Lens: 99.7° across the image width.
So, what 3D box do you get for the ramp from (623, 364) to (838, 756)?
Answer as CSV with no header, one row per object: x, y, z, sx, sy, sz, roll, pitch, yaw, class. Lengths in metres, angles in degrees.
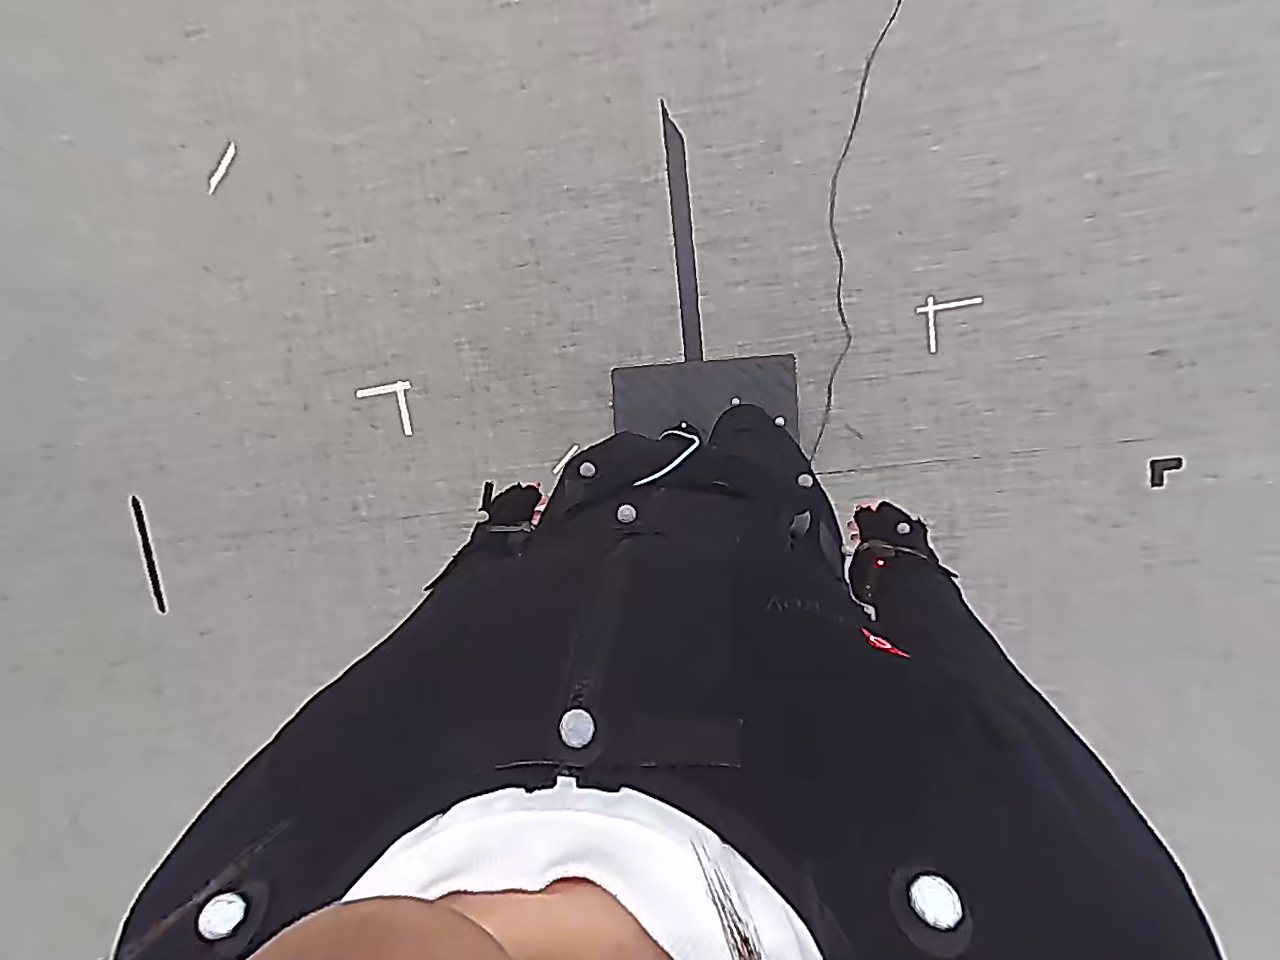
0.219,0.206,1.427,0.509,0.206,0.991,-6,95,11,ramp
